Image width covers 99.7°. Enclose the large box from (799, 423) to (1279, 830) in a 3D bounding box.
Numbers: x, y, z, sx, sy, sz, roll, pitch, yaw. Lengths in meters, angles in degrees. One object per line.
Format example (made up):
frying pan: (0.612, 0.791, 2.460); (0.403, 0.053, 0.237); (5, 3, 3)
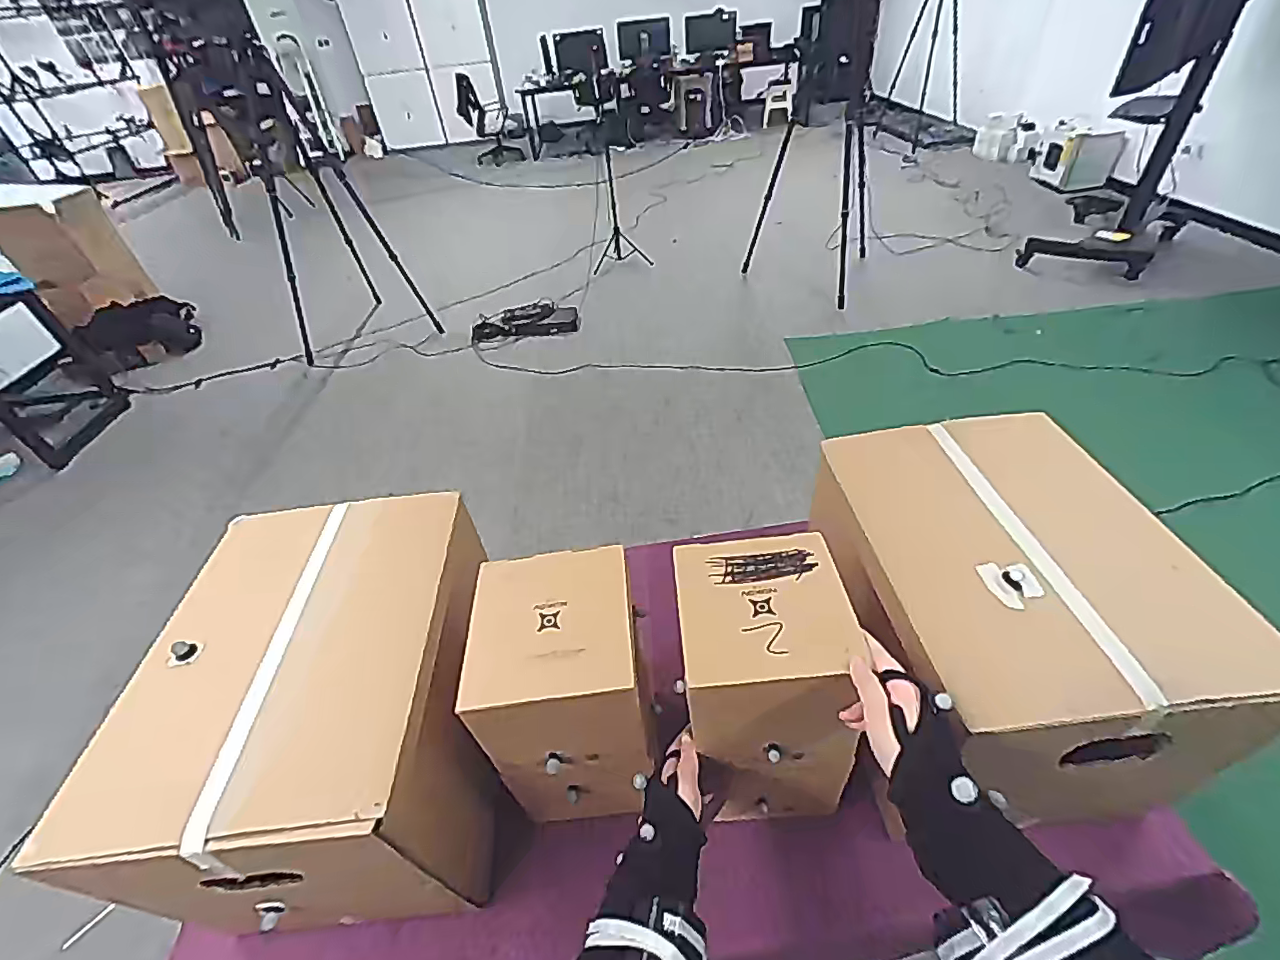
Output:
large box: (0.432, 0.176, 0.710); (0.320, 0.320, 0.408); (-6, 43, 1)
